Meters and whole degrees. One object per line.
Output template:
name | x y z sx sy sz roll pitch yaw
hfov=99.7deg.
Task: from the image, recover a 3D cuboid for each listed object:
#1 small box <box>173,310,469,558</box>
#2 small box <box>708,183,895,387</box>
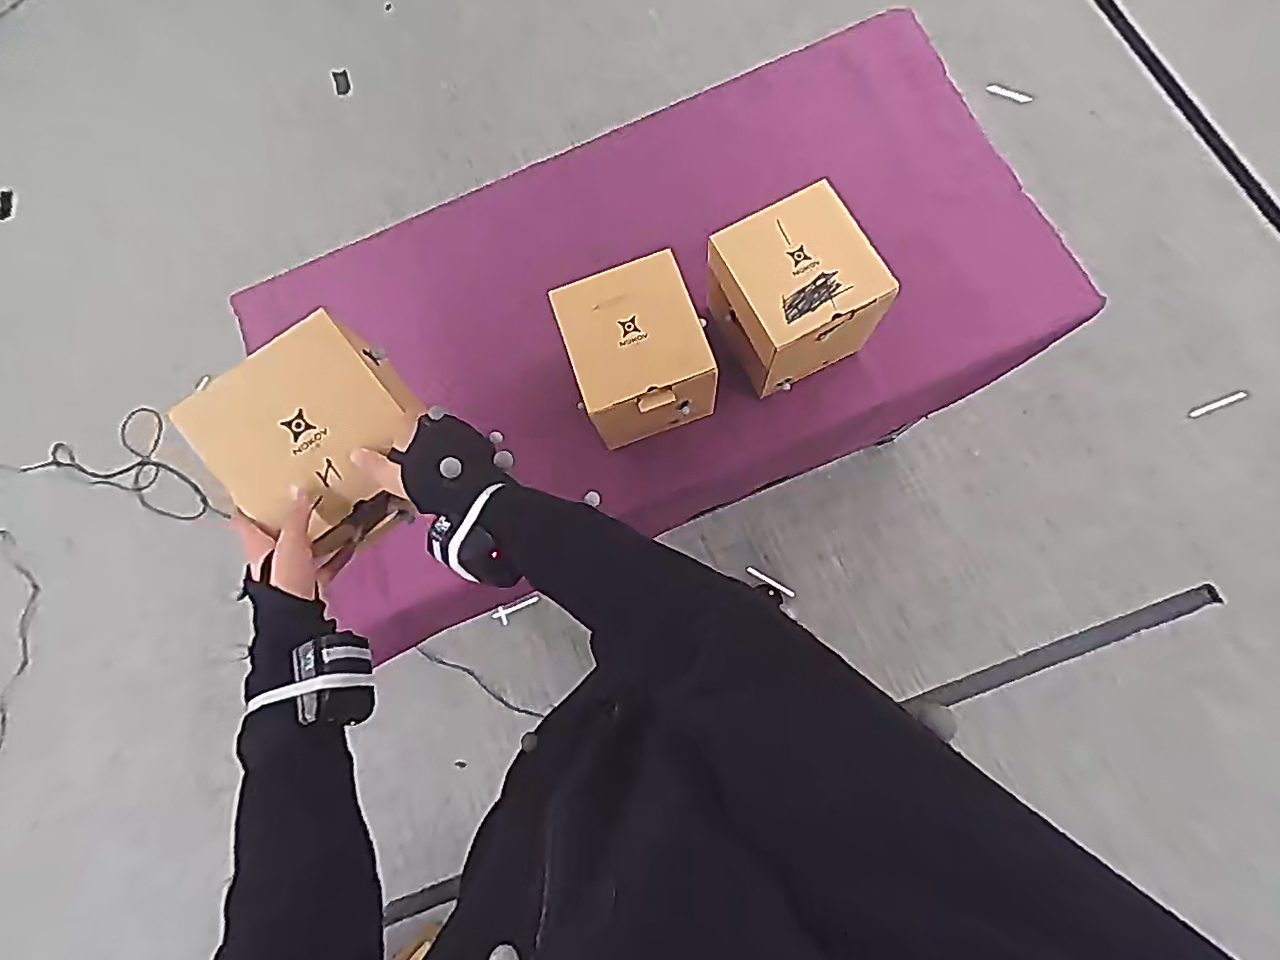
small box | -0.310 -0.037 0.569 0.168 0.176 0.179 -38 91 -6
small box | 0.202 -0.245 0.731 0.168 0.176 0.179 -26 76 0
